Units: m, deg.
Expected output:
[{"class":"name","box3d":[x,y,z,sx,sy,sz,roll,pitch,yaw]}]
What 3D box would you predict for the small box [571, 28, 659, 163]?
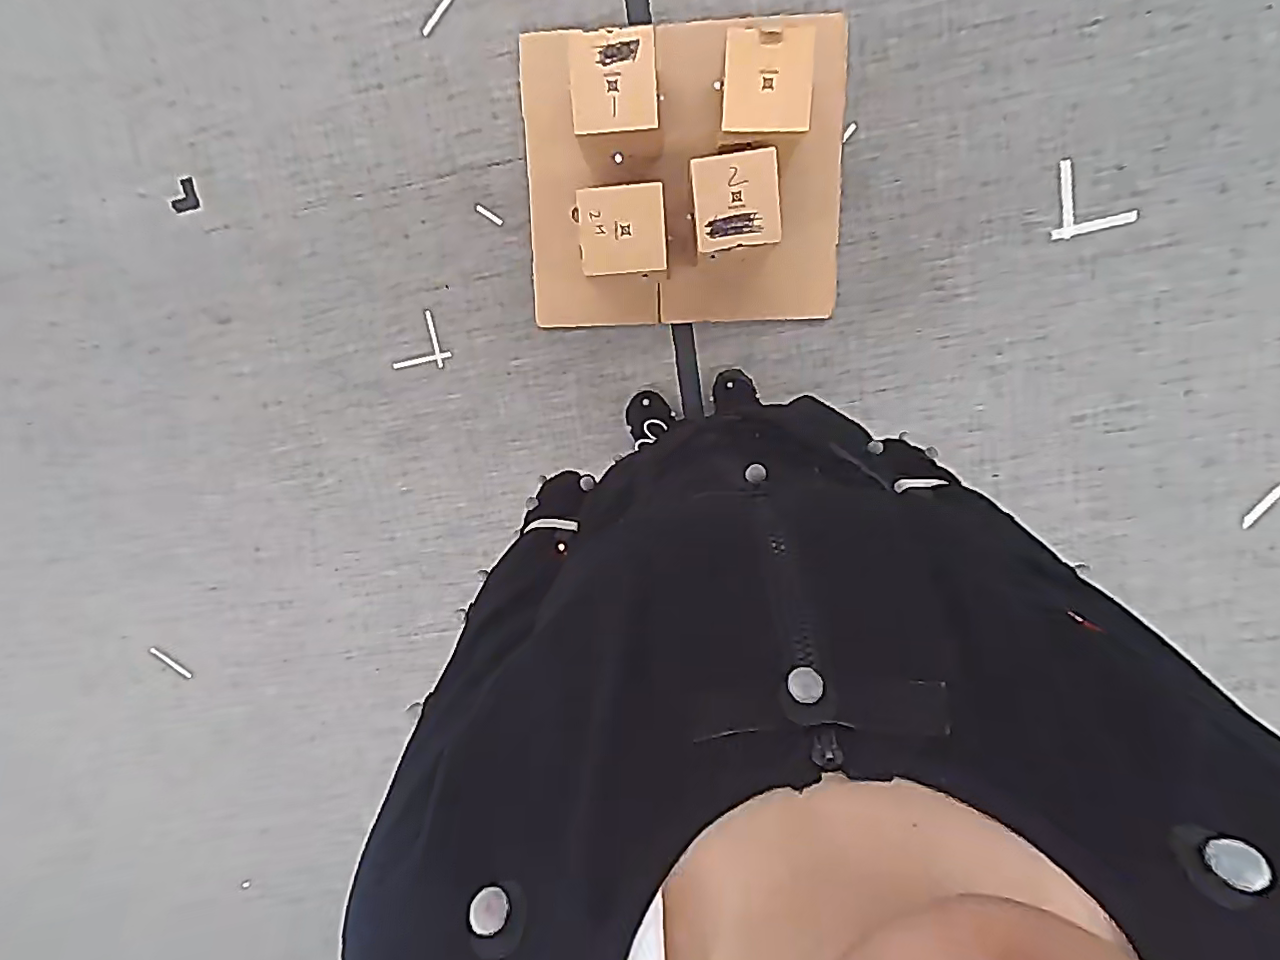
[{"class":"small box","box3d":[-0.045,-0.780,1.113,0.168,0.176,0.179,-2,104,4]}]
